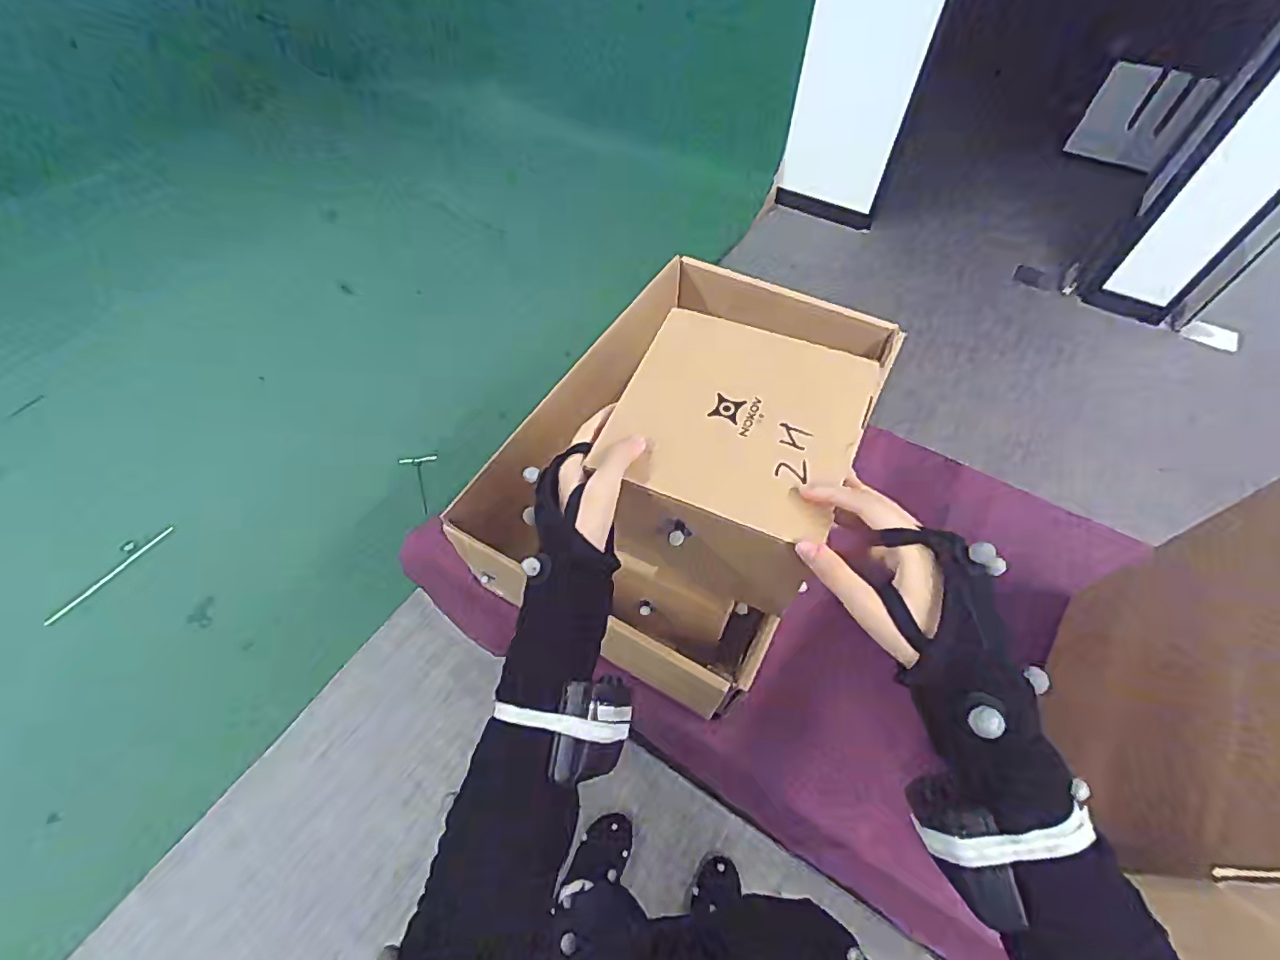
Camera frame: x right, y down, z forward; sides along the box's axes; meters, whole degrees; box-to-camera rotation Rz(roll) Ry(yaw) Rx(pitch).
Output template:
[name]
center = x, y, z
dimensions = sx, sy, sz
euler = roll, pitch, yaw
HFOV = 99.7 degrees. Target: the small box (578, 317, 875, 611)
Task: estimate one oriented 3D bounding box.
[small box]
center = 0.072, -0.005, 0.470
dimensions = 0.179, 0.176, 0.168
euler = 22, 67, 15
